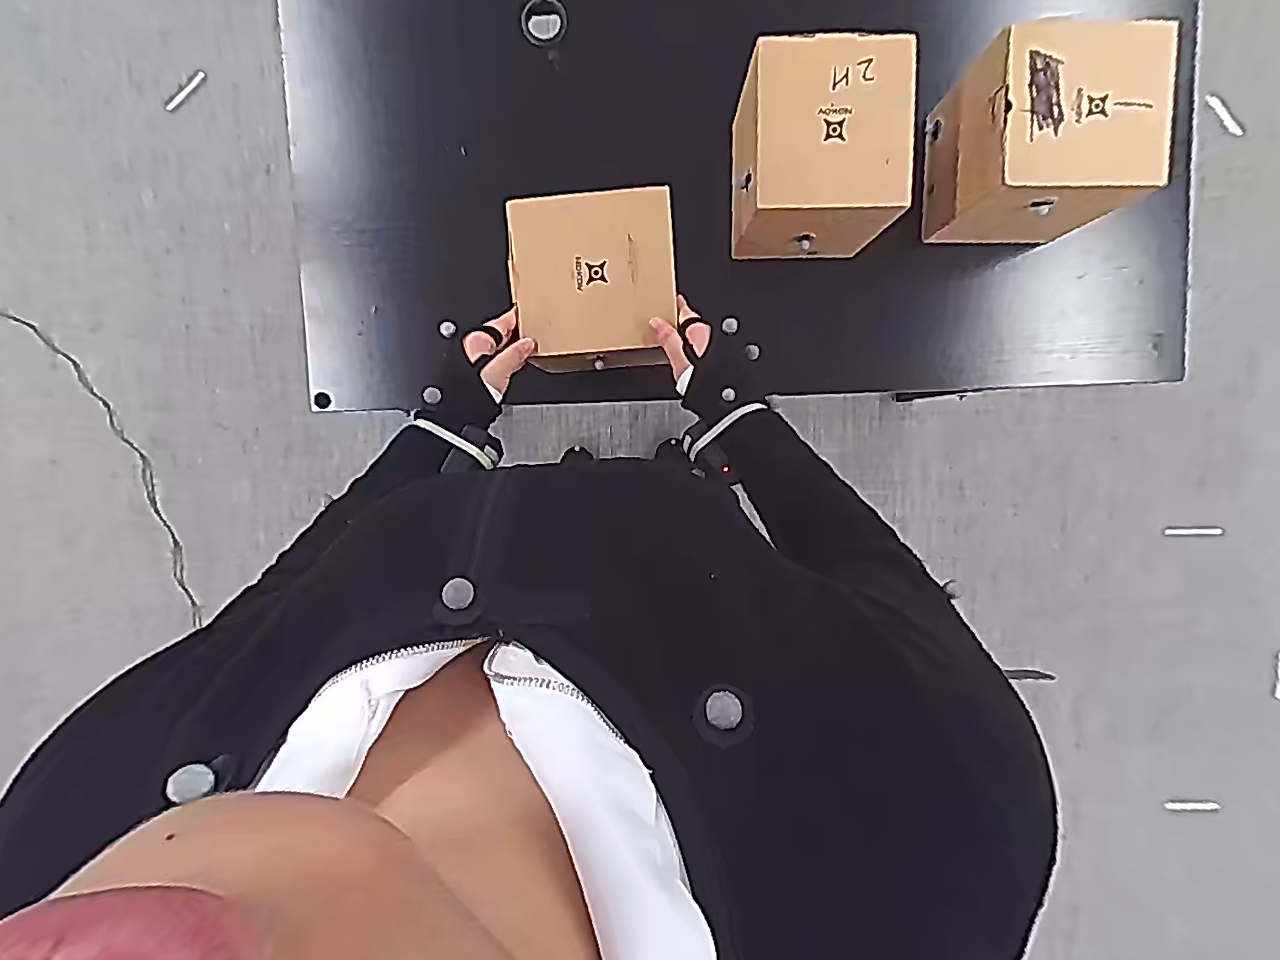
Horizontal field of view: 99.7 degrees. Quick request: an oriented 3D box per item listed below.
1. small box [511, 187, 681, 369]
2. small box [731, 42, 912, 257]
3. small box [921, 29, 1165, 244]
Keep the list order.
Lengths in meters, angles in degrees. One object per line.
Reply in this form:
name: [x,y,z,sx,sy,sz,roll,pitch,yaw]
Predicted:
small box: [-0.044,-0.233,0.665,0.179,0.176,0.168,-5,96,2]
small box: [0.207,-0.383,0.660,0.168,0.176,0.179,0,94,0]
small box: [0.467,-0.399,0.656,0.179,0.176,0.168,0,94,0]
